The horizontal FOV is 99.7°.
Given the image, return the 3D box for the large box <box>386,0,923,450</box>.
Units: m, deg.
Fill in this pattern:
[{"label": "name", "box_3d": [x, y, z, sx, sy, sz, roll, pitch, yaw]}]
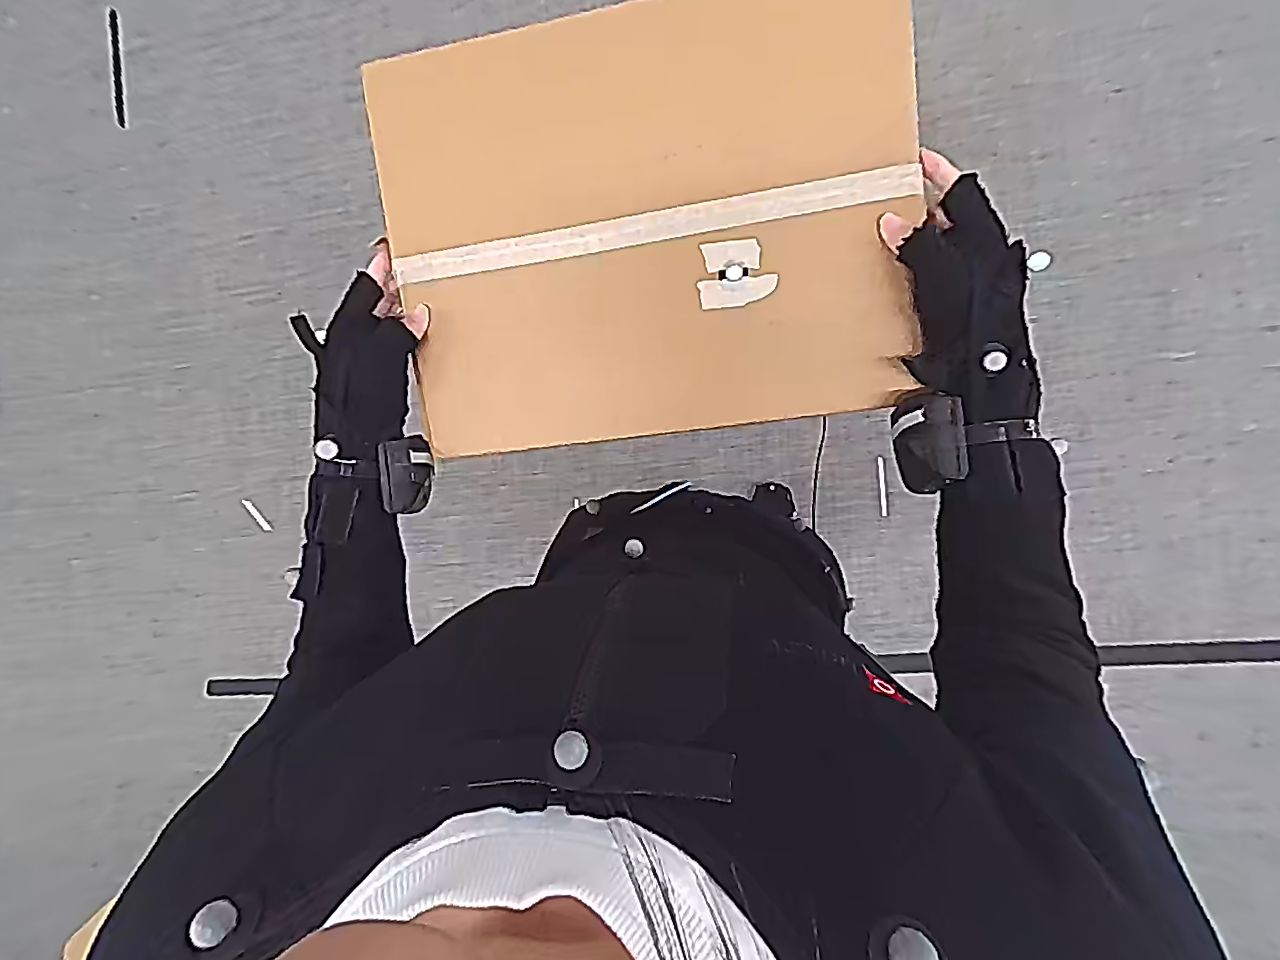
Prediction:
[{"label": "large box", "box_3d": [0.024, -0.220, 0.574, 0.408, 0.320, 0.320, -6, 98, 8]}]
